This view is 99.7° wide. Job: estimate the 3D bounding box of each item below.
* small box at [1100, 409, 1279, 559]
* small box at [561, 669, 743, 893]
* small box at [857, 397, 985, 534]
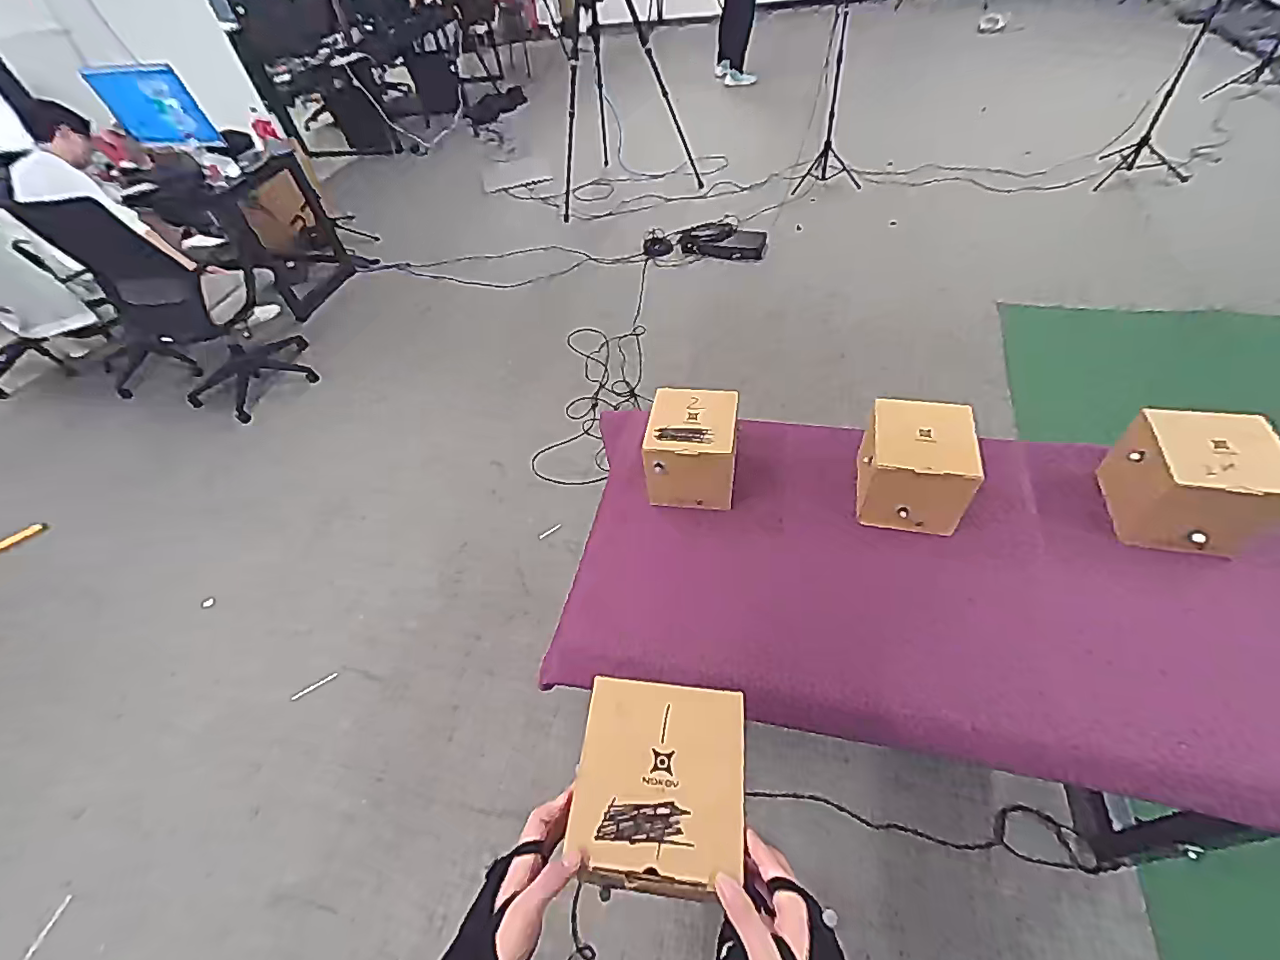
[{"bbox_3d":[0.924,0.006,0.910,0.168,0.176,0.179,7,52,16],"label":"small box"},{"bbox_3d":[0.022,0.335,0.598,0.168,0.176,0.179,5,49,6],"label":"small box"},{"bbox_3d":[0.505,-0.026,1.000,0.168,0.176,0.179,8,53,13],"label":"small box"}]
